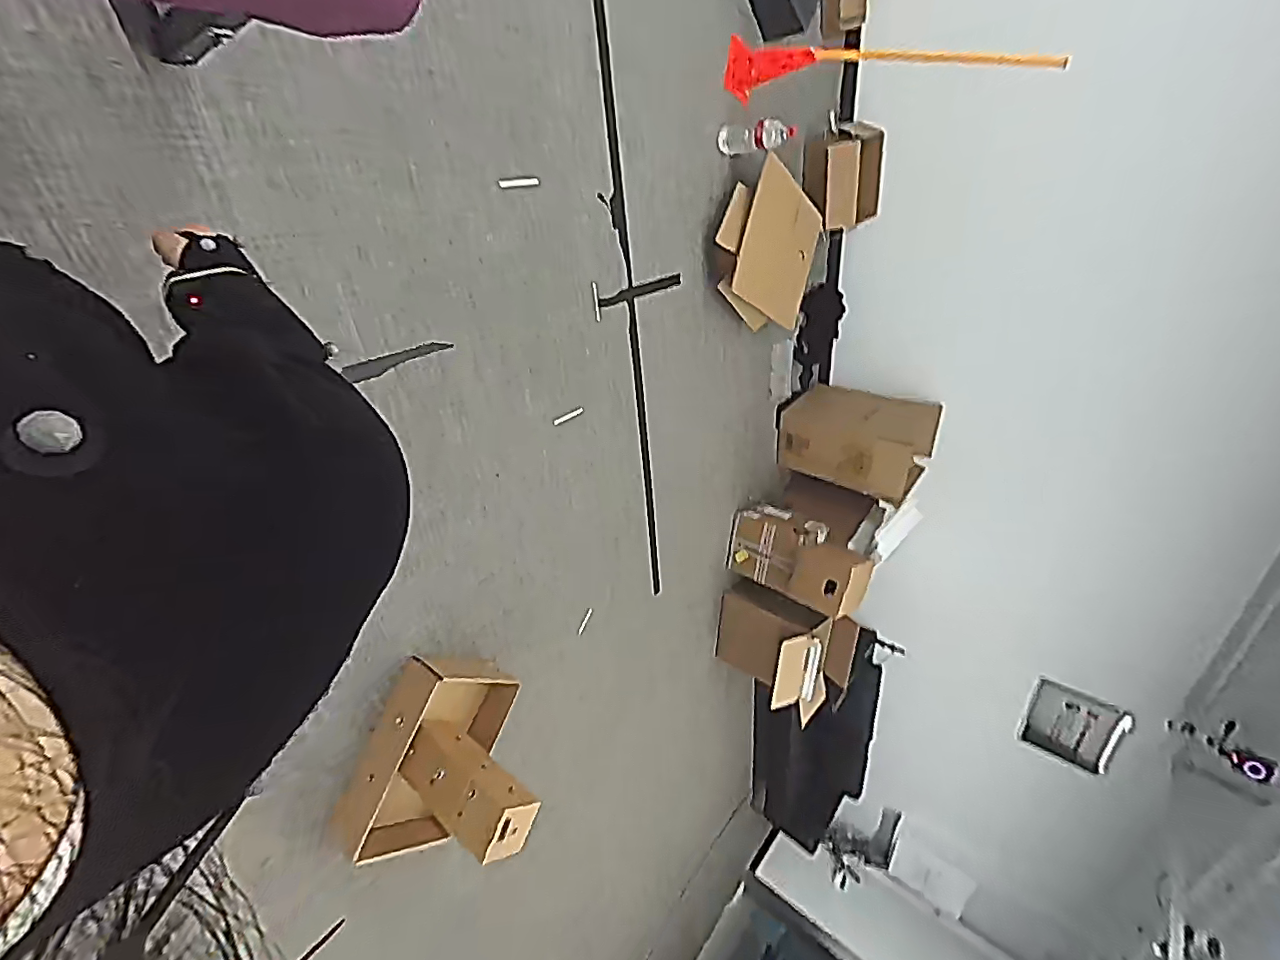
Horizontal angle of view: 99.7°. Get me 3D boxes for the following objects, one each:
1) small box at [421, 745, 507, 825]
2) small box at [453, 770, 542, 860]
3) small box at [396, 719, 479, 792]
[{"bbox_3d":[-0.580,0.998,1.788,0.179,0.176,0.168,35,76,-53],"label":"small box"},{"bbox_3d":[-0.450,1.041,1.697,0.179,0.176,0.168,35,77,-55],"label":"small box"},{"bbox_3d":[-0.705,0.953,1.881,0.179,0.176,0.168,38,74,-53],"label":"small box"}]
